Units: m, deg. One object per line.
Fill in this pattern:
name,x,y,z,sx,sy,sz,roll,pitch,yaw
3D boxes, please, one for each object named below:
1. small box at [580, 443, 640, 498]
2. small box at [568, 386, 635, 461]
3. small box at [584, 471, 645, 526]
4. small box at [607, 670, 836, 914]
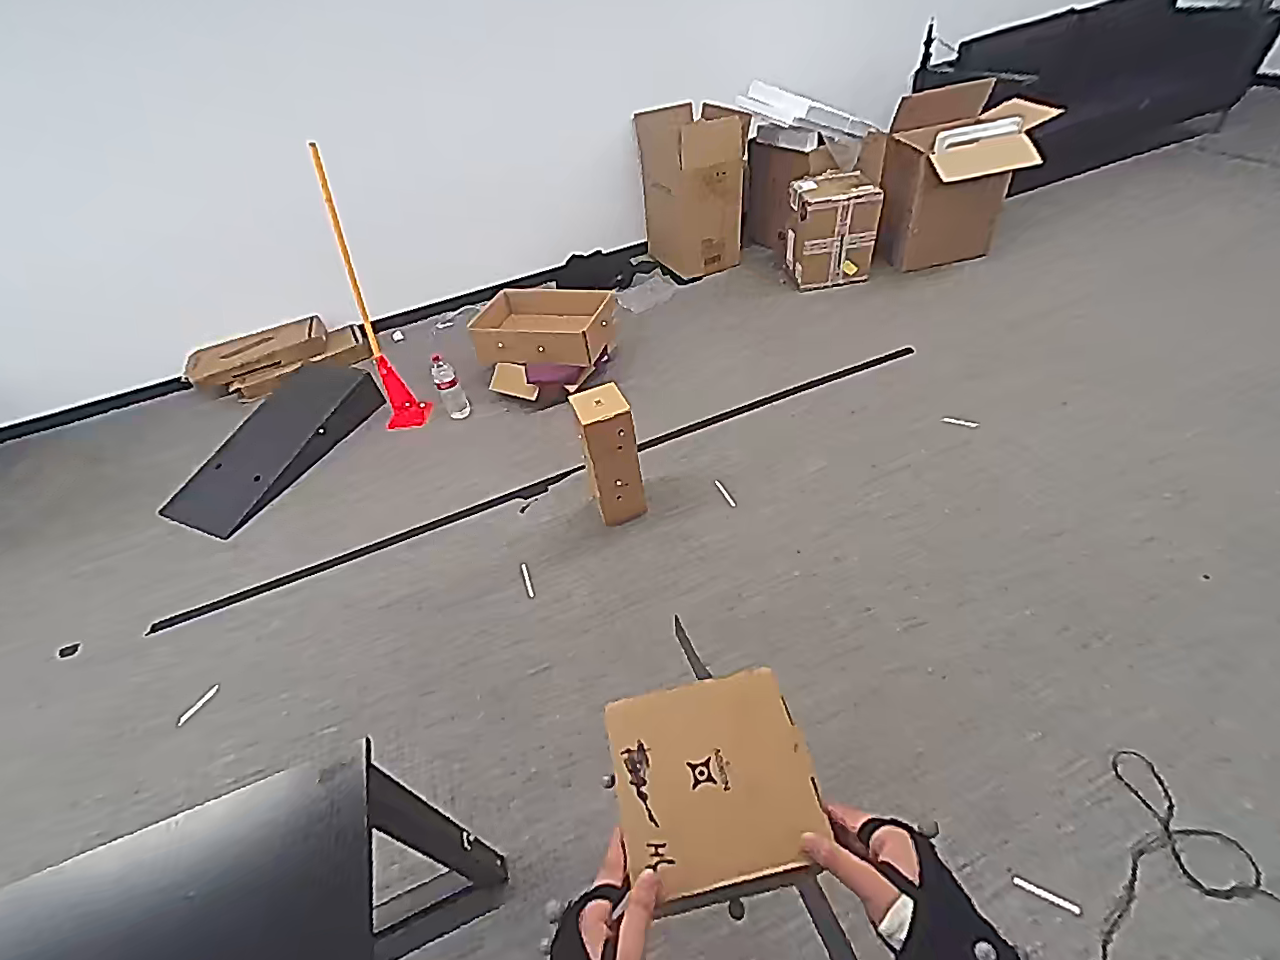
small box,-0.108,-0.067,1.927,0.168,0.176,0.179,-20,46,-10
small box,-0.126,-0.184,1.815,0.168,0.176,0.179,-19,44,-11
small box,-0.093,0.046,2.045,0.179,0.176,0.168,-19,45,-10
small box,0.069,0.318,0.550,0.179,0.176,0.168,-10,48,-4
